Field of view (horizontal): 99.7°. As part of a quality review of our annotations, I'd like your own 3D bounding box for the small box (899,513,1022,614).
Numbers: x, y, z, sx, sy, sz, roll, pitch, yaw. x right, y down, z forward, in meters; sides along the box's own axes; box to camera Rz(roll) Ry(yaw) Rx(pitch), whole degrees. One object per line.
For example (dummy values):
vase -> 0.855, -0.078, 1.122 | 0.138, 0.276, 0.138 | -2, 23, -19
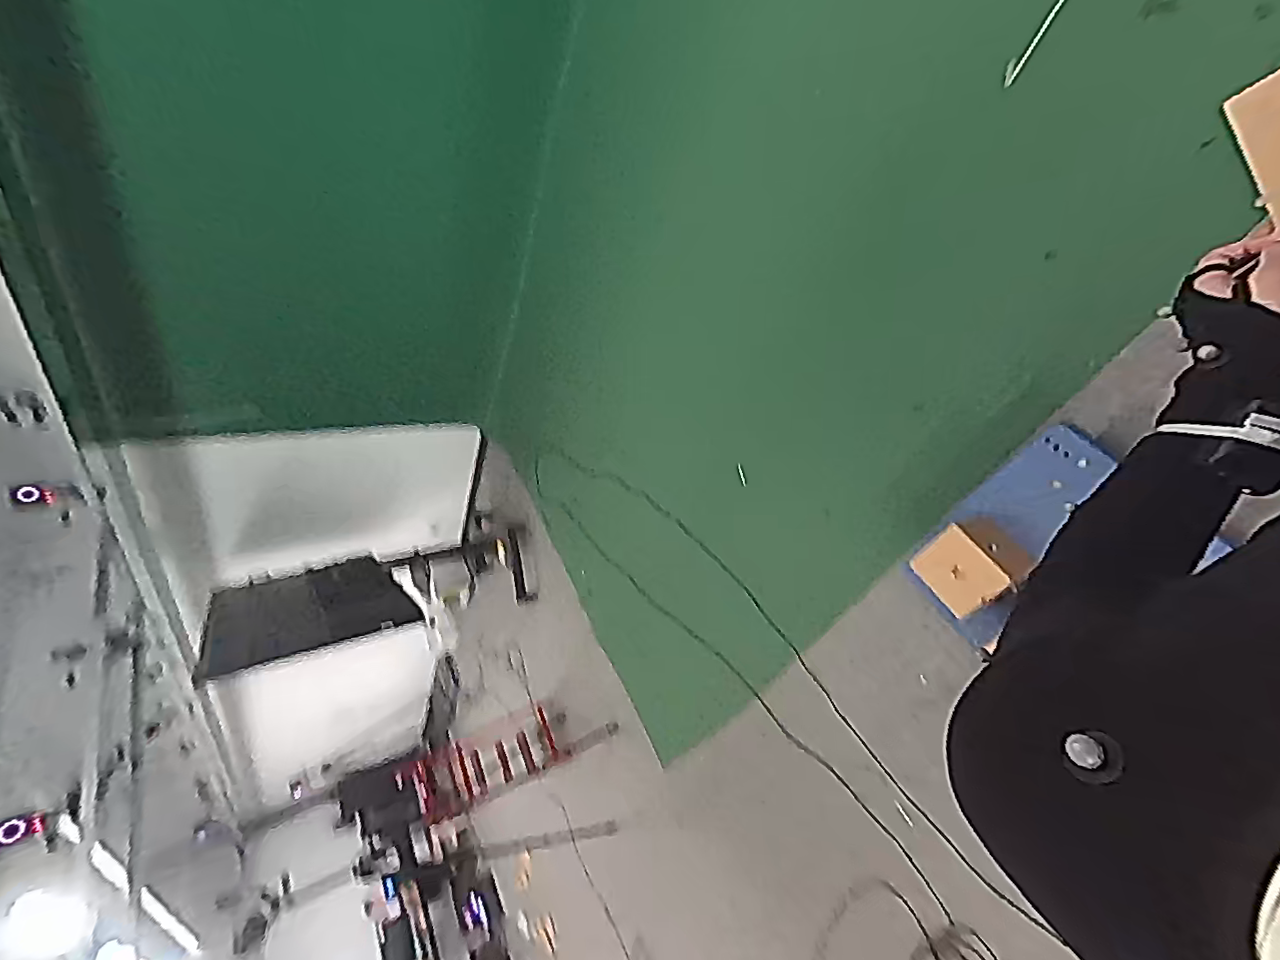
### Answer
small box -> 0.806, 0.203, 1.357 | 0.179, 0.176, 0.168 | 57, 136, 30
